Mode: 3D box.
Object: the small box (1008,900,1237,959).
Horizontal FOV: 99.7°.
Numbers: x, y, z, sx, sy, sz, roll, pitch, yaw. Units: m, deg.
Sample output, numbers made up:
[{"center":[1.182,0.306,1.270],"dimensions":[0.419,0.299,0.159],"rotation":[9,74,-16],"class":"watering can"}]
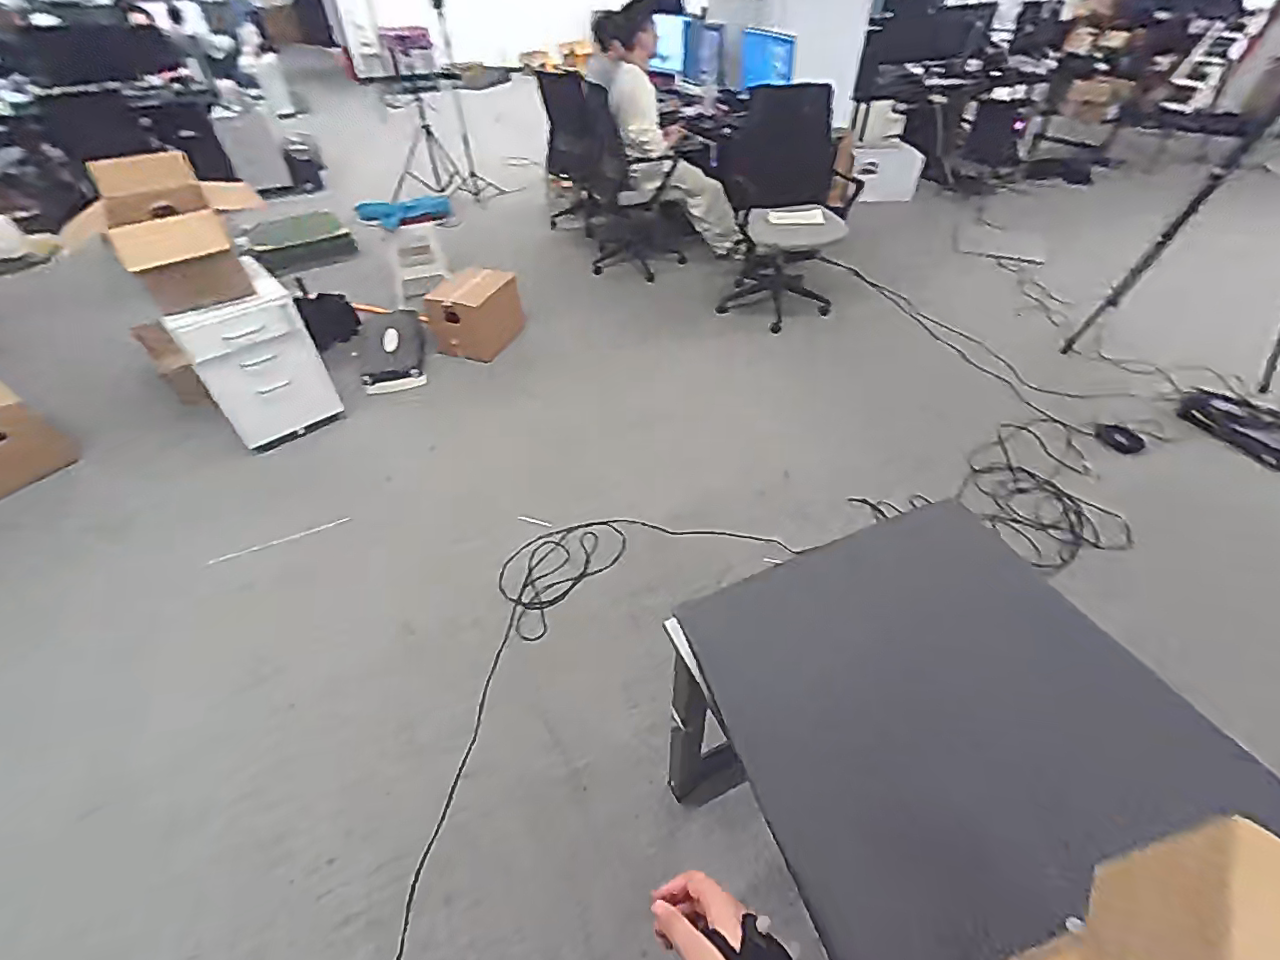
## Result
[{"center":[0.427,0.499,0.463],"dimensions":[0.179,0.176,0.168],"rotation":[-10,44,-13],"class":"small box"}]
